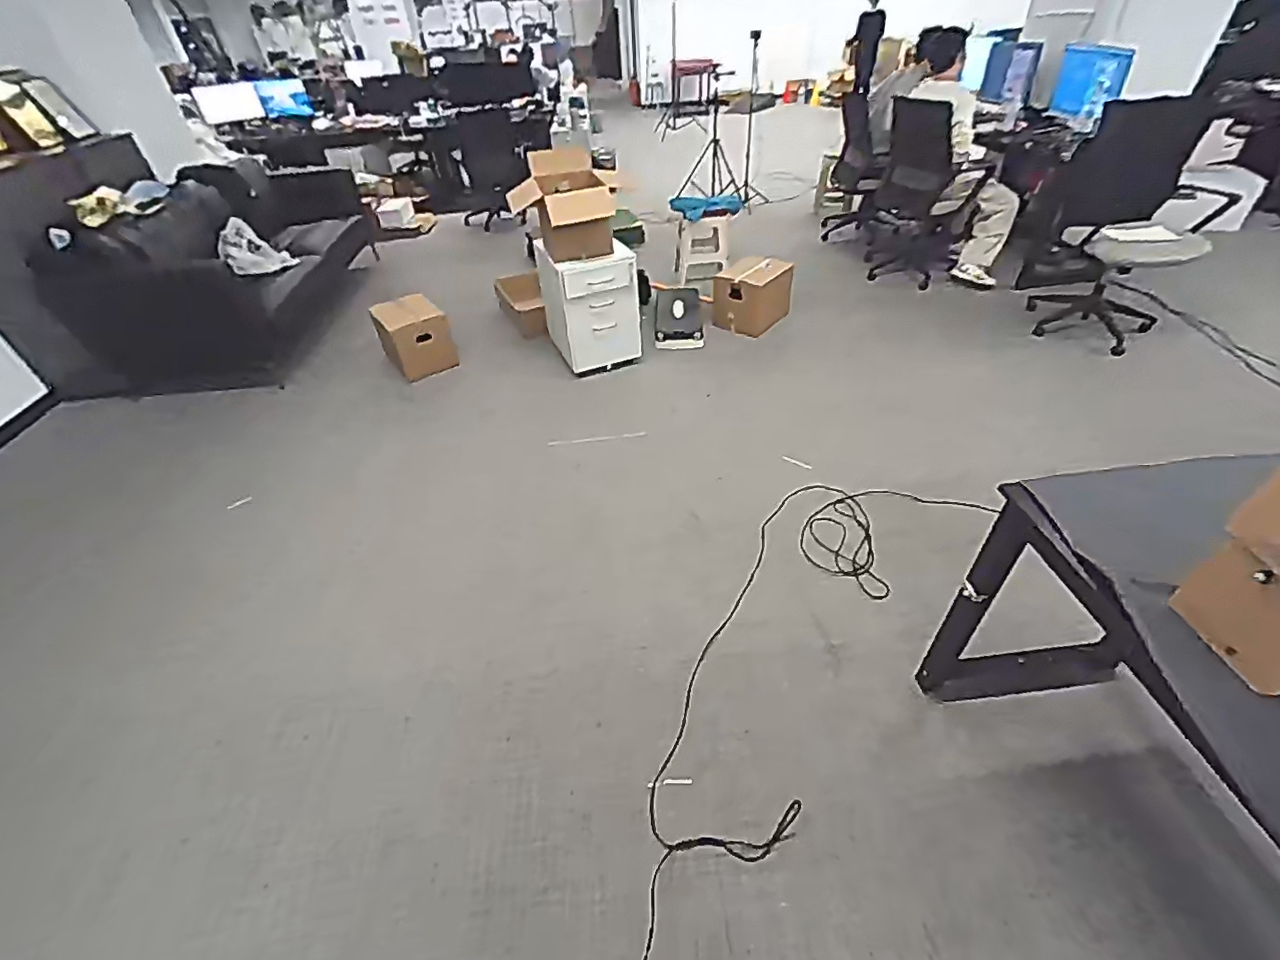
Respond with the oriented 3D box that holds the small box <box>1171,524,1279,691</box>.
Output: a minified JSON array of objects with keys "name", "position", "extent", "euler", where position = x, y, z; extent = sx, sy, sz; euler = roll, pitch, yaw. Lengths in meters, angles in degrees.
[{"name":"small box","position":[0.937,0.177,0.765],"extent":[0.179,0.176,0.168],"euler":[-5,40,-2]}]
